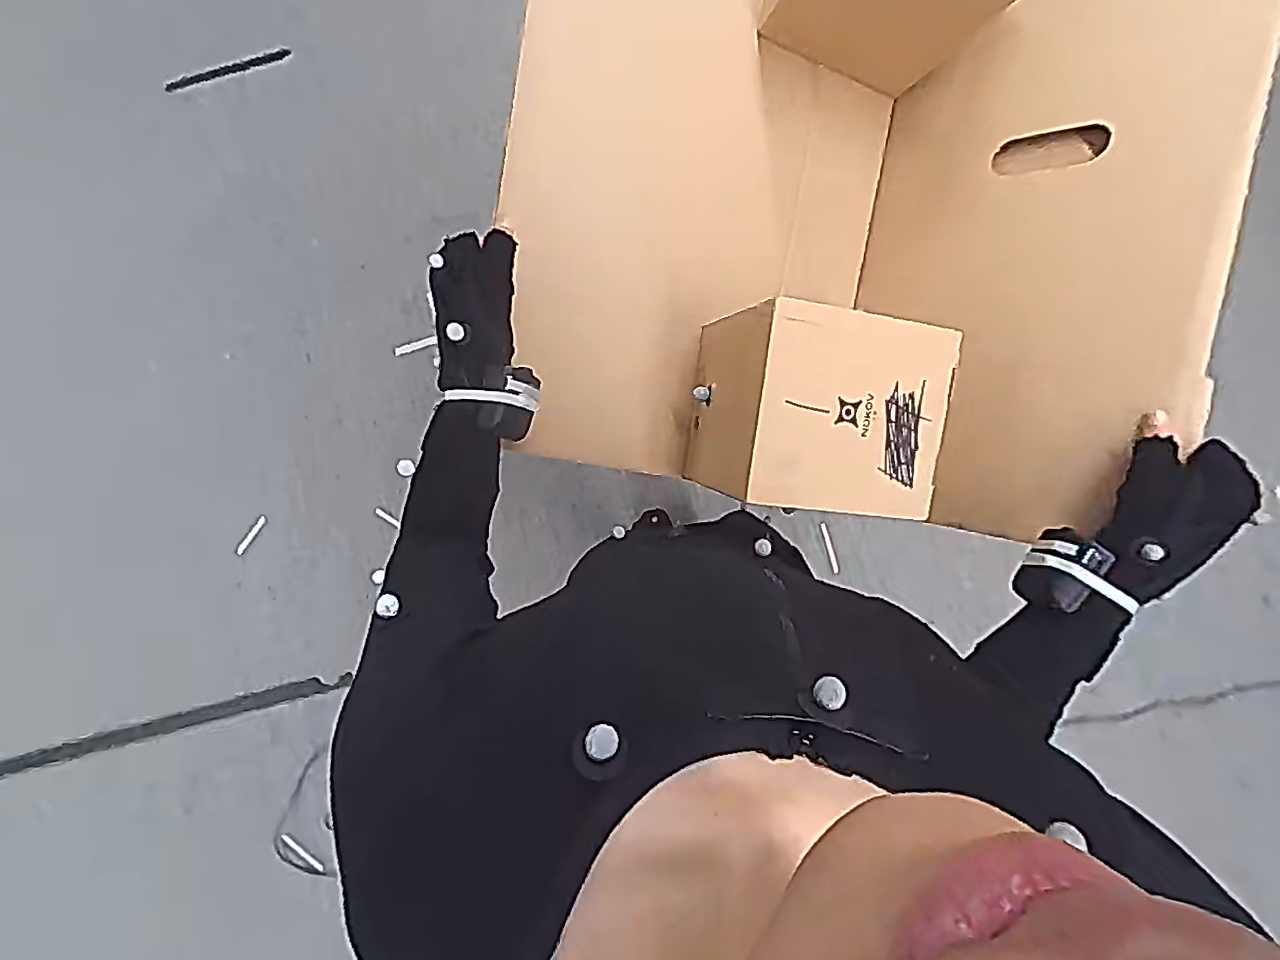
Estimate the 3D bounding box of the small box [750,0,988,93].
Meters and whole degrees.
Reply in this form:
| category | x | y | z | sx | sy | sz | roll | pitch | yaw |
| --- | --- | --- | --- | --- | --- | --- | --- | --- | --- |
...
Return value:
| category | x | y | z | sx | sy | sz | roll | pitch | yaw |
| --- | --- | --- | --- | --- | --- | --- | --- | --- | --- |
| small box | 0.224 | -0.504 | 0.495 | 0.179 | 0.176 | 0.168 | 11 | 93 | -16 |

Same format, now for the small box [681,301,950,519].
| category | x | y | z | sx | sy | sz | roll | pitch | yaw |
| --- | --- | --- | --- | --- | --- | --- | --- | --- | --- |
| small box | 0.155 | -0.063 | 0.527 | 0.179 | 0.176 | 0.168 | 5 | 96 | -14 |
